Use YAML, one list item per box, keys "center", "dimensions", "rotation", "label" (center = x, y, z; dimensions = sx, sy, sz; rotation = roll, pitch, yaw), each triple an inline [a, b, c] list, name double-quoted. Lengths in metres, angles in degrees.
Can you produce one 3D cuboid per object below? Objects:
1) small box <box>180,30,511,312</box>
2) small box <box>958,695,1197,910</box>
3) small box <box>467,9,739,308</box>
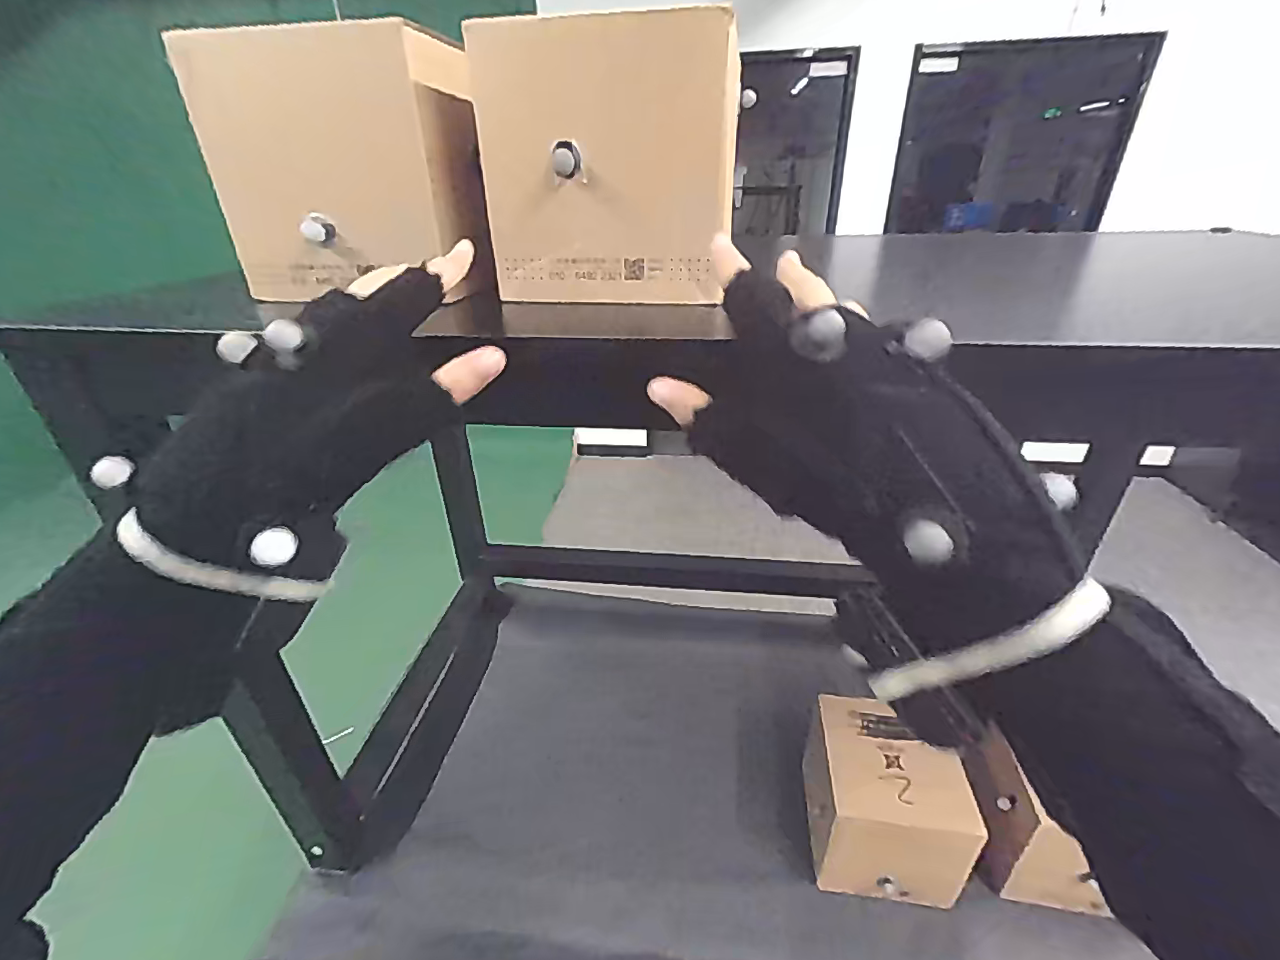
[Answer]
- center: [-0.205, -0.246, 0.448]
  dimensions: [0.168, 0.176, 0.179]
  rotation: [3, 30, 8]
  label: "small box"
- center: [0.551, 0.422, 0.715]
  dimensions: [0.168, 0.176, 0.179]
  rotation: [4, 29, 10]
  label: "small box"
- center: [-0.010, -0.237, 0.428]
  dimensions: [0.168, 0.176, 0.179]
  rotation: [4, 29, 9]
  label: "small box"
